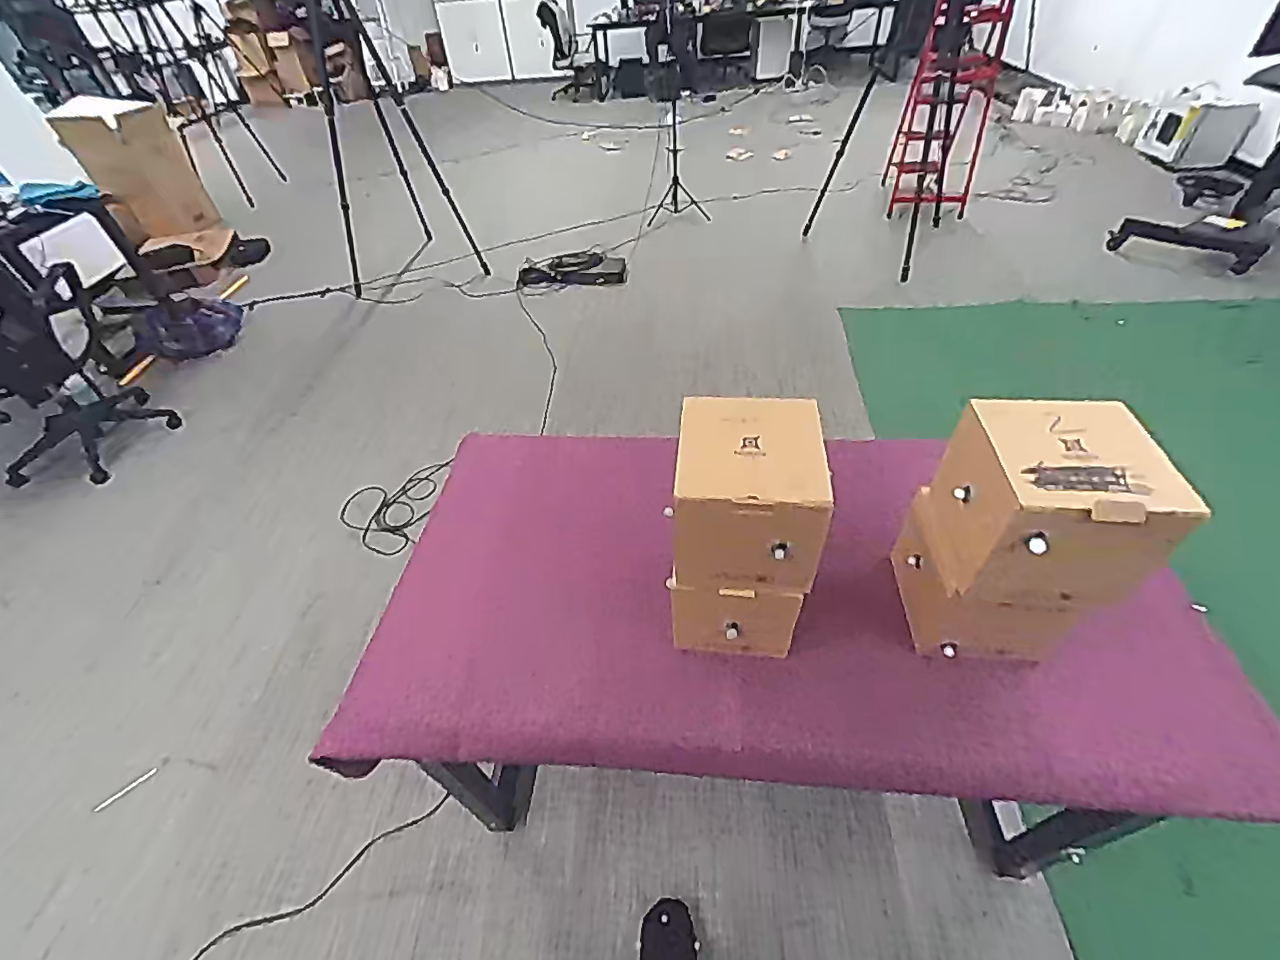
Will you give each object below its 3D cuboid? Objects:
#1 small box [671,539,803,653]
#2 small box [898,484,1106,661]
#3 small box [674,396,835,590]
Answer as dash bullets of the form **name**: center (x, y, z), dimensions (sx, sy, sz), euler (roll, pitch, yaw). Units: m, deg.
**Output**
- **small box**: center (0.137, 0.131, 0.782), dimensions (0.168, 0.176, 0.179), euler (3, 47, 8)
- **small box**: center (0.477, 0.130, 0.750), dimensions (0.168, 0.176, 0.179), euler (5, 47, 8)
- **small box**: center (0.133, 0.017, 0.665), dimensions (0.168, 0.176, 0.179), euler (3, 46, 8)
